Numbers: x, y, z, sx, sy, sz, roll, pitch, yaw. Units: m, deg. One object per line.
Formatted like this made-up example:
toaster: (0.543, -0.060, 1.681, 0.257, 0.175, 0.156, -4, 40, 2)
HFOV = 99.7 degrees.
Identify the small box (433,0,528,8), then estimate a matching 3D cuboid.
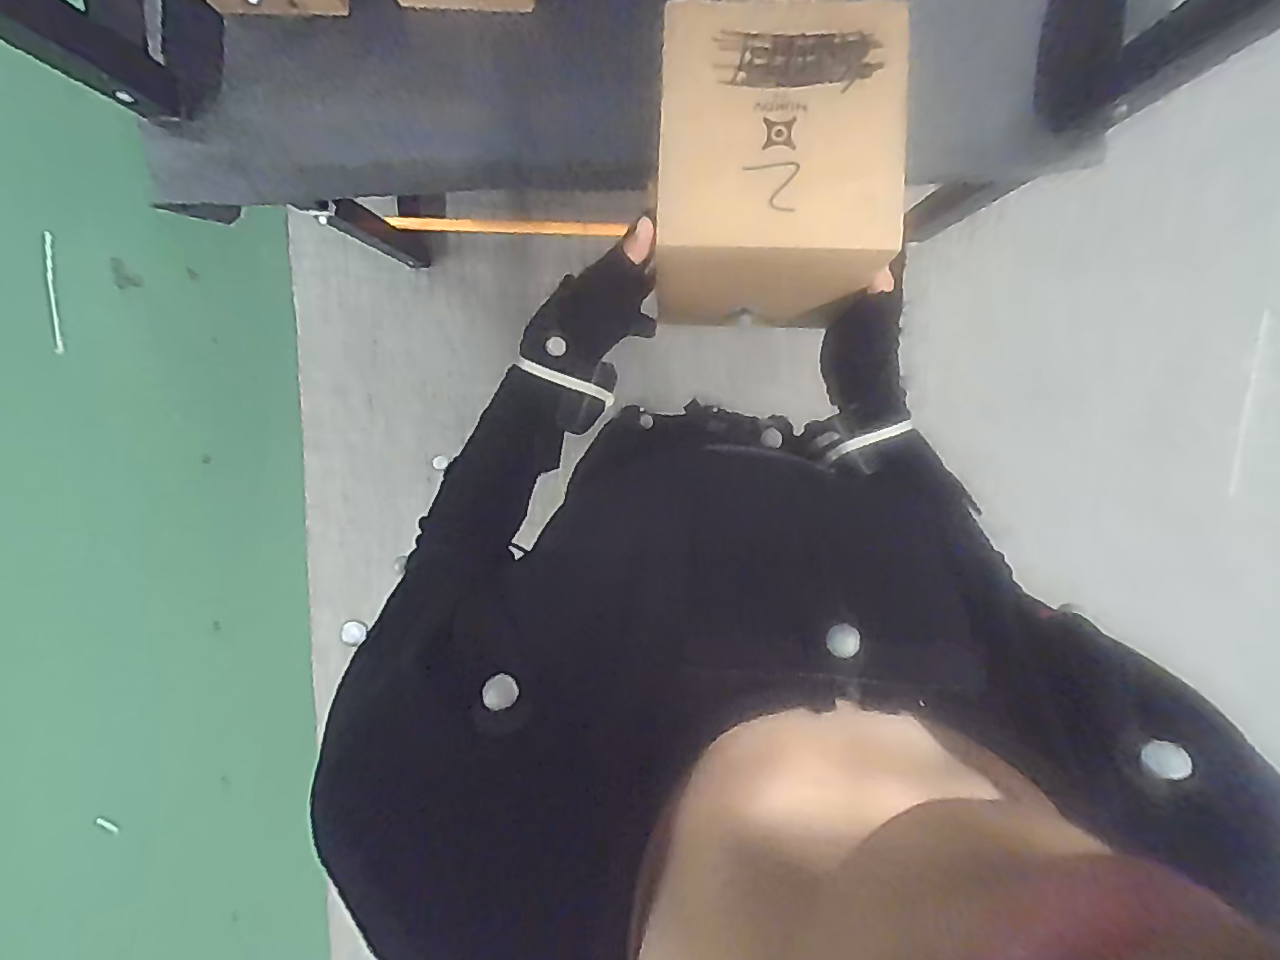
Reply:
small box: (-0.210, -0.654, 0.576, 0.168, 0.176, 0.179, 3, 98, 1)

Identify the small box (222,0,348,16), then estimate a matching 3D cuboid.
small box: (-0.438, -0.654, 0.578, 0.168, 0.176, 0.179, 2, 99, 1)
